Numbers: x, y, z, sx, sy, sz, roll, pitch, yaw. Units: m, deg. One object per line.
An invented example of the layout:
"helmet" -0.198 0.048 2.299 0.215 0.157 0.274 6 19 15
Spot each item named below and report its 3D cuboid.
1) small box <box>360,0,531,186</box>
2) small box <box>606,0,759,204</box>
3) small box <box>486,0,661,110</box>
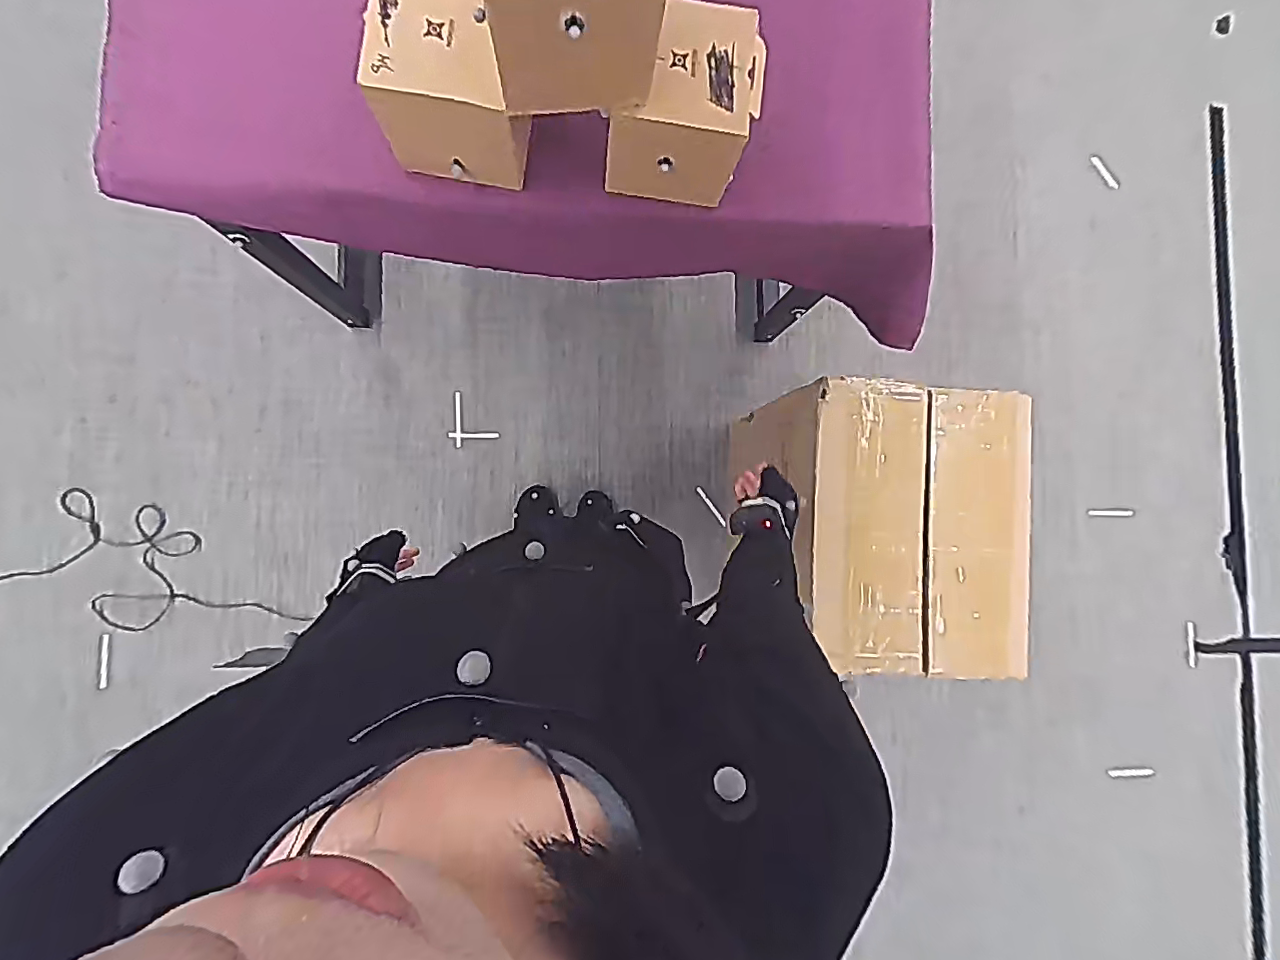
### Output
"small box" -0.241 -0.525 0.720 0.179 0.176 0.168 7 86 -7
"small box" 0.049 -0.512 0.750 0.179 0.176 0.168 6 86 -5
"small box" -0.076 -0.530 0.574 0.179 0.176 0.168 -9 90 -7
